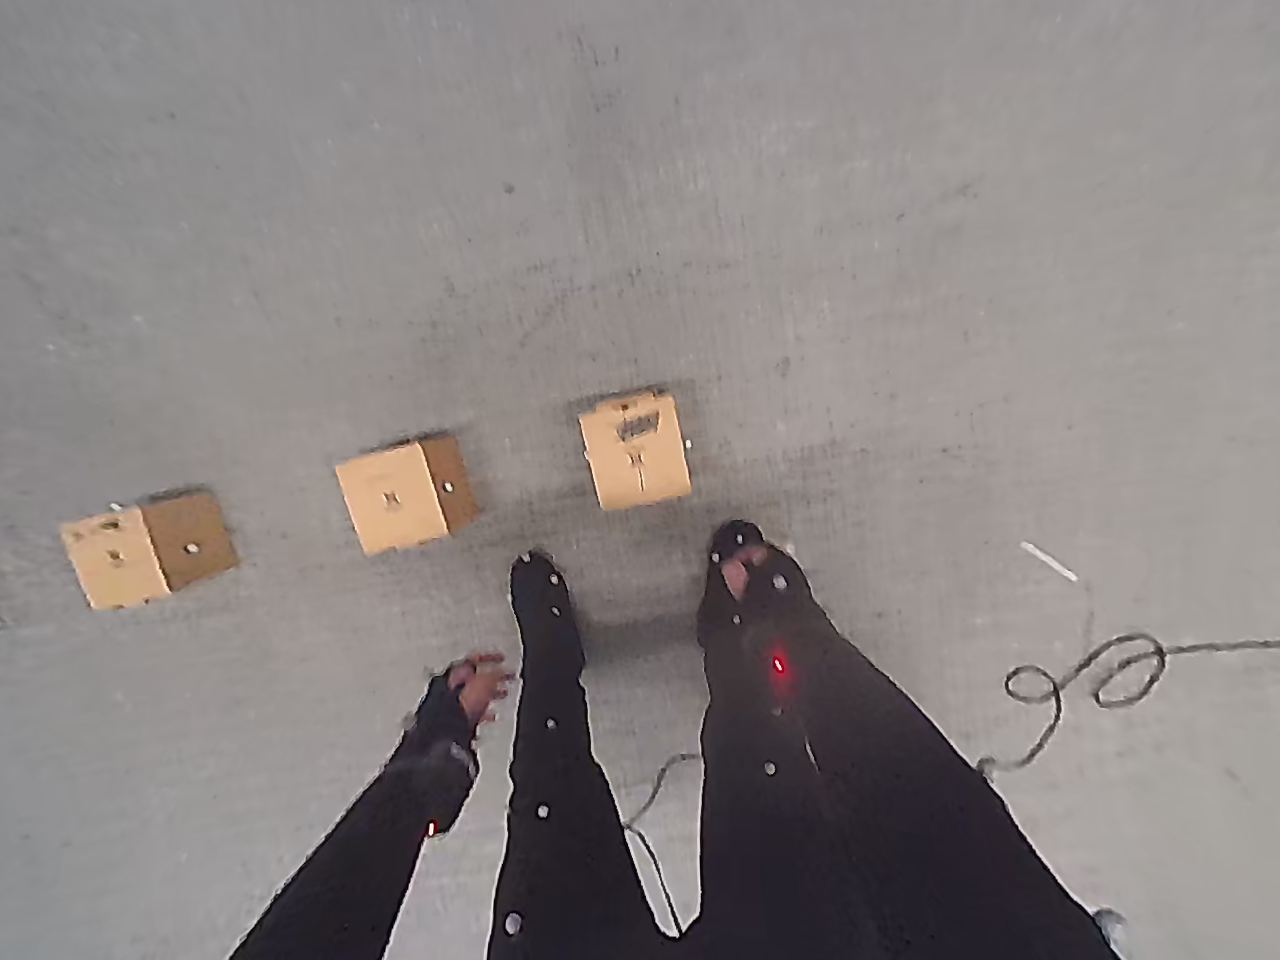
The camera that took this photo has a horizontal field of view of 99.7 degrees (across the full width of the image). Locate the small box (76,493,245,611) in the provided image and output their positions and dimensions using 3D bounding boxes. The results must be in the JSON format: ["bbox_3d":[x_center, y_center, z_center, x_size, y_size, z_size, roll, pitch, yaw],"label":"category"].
[{"bbox_3d":[-0.962,0.140,1.104,0.168,0.176,0.179,-13,99,5],"label":"small box"}]

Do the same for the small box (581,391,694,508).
[{"bbox_3d":[0.001,-0.062,1.005,0.168,0.176,0.179,-12,98,7],"label":"small box"}]

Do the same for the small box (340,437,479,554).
[{"bbox_3d":[-0.435,0.023,1.053,0.168,0.176,0.179,-15,97,5],"label":"small box"}]
